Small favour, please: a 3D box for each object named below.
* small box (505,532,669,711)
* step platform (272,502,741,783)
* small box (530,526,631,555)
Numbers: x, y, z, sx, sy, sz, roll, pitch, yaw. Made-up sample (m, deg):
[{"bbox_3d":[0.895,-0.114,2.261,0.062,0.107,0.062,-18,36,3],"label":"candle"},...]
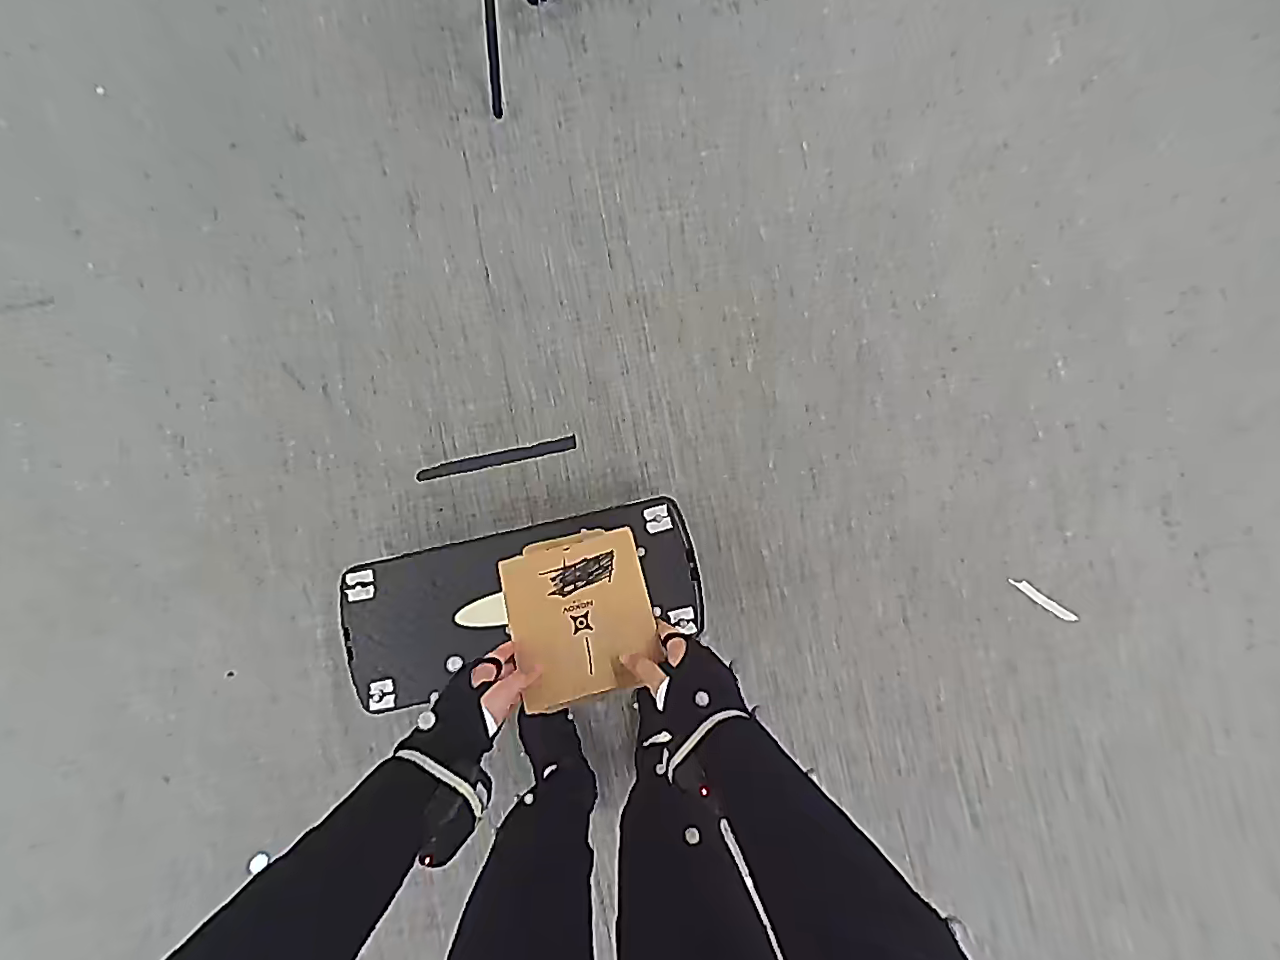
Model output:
[{"bbox_3d":[-0.067,0.190,0.704,0.168,0.176,0.179,-13,67,-6],"label":"small box"},{"bbox_3d":[-0.197,0.244,0.886,0.684,0.204,0.286,-13,84,-3],"label":"step platform"},{"bbox_3d":[-0.078,0.183,0.928,0.168,0.176,0.179,-14,85,-1],"label":"small box"}]
